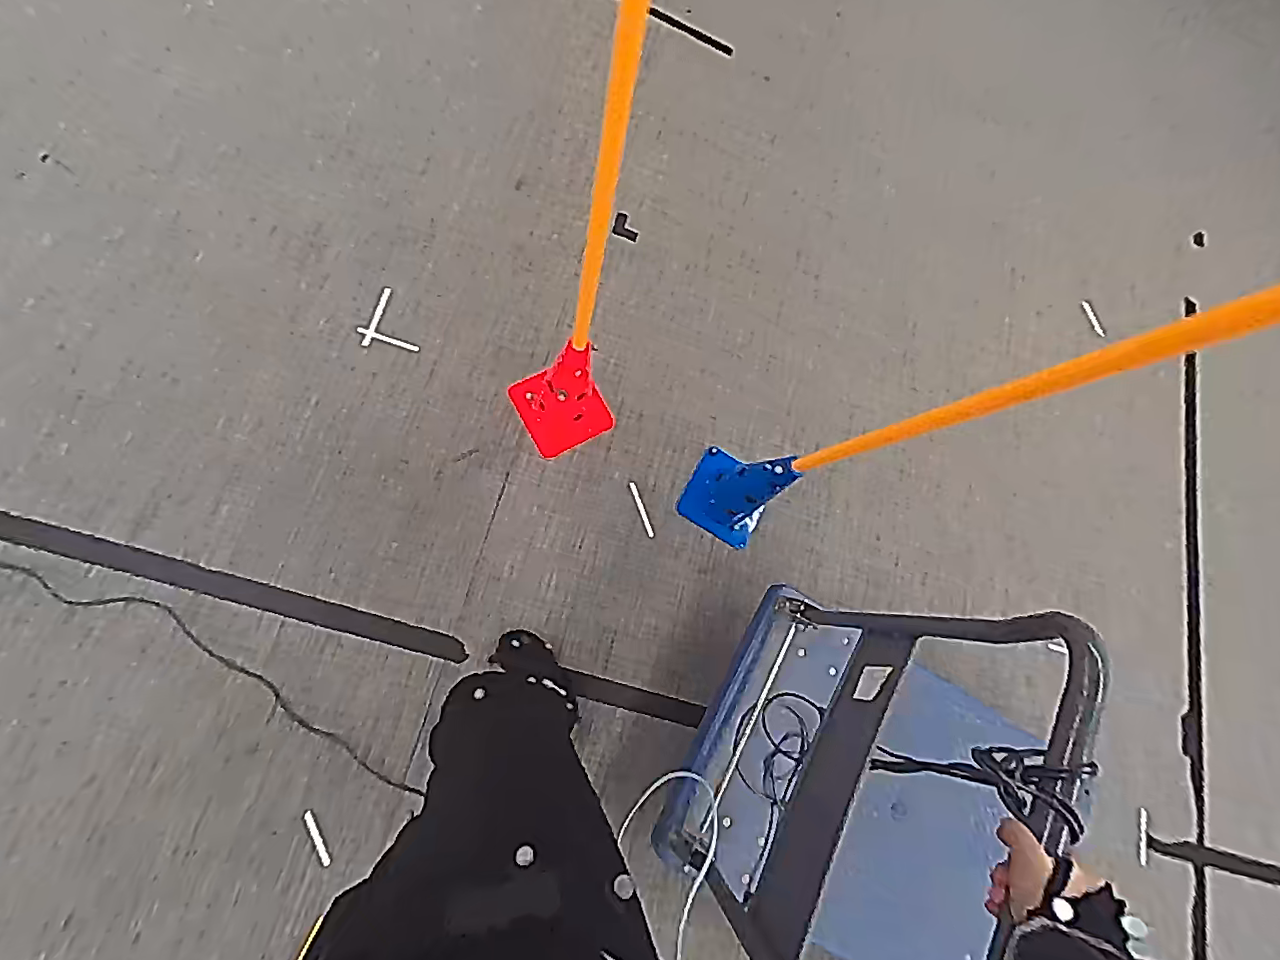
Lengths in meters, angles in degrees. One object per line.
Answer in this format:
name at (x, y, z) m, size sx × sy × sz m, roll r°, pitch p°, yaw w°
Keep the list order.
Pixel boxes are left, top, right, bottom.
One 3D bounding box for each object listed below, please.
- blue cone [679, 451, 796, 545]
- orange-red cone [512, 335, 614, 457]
blue cone at (0.242, 0.011, 1.176) m, size 0.192 × 0.380 × 0.193 m, roll 33°, pitch 73°, yaw -4°
orange-red cone at (-0.141, -0.204, 1.116) m, size 0.198 × 0.360 × 0.199 m, roll -26°, pitch 87°, yaw -16°
